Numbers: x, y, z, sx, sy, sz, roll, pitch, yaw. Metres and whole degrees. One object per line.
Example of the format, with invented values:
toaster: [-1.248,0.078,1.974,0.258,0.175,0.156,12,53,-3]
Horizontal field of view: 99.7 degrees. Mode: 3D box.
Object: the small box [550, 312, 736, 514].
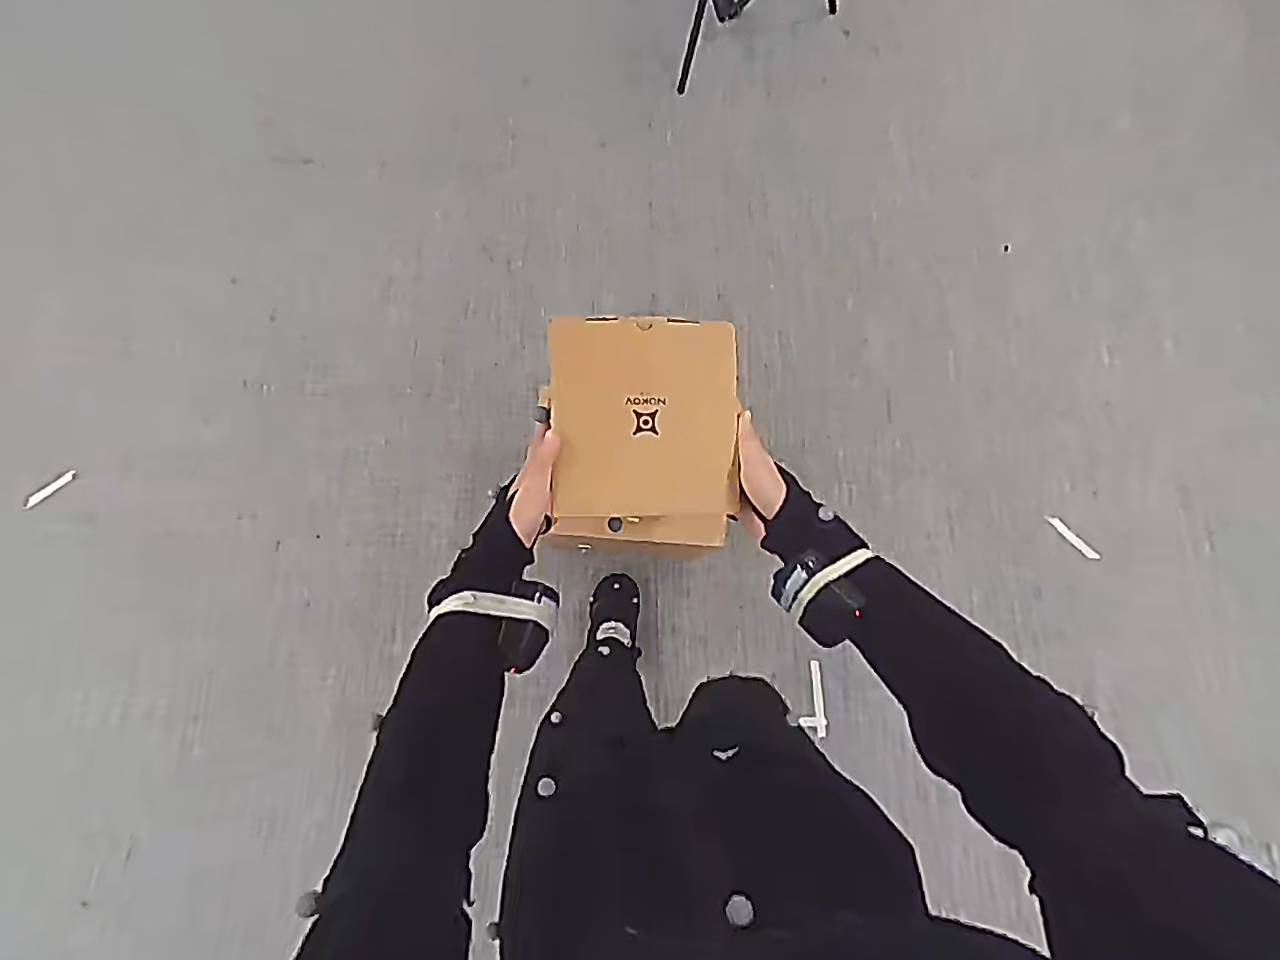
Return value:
small box: [-0.006,-0.055,0.553,0.168,0.176,0.179,-1,86,-8]
